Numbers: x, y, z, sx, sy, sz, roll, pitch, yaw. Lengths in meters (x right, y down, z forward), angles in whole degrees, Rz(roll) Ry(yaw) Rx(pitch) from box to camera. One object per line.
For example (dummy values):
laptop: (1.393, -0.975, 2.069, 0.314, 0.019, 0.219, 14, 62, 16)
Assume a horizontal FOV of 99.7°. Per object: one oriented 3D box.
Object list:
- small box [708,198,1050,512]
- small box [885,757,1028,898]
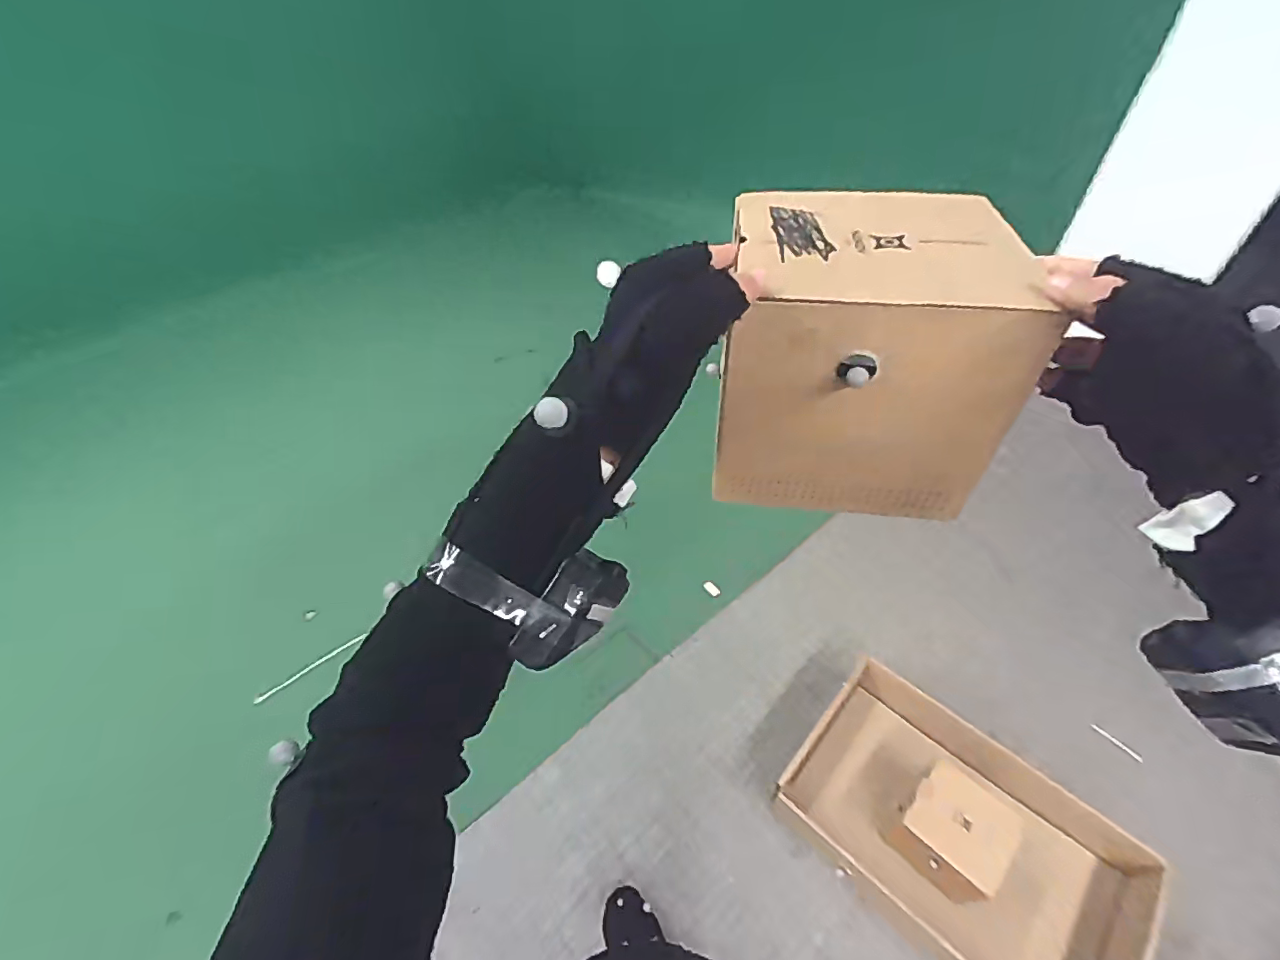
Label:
small box: (0.145, -0.092, 0.404, 0.179, 0.176, 0.168, 5, 46, 6)
small box: (0.636, 0.716, 1.108, 0.179, 0.176, 0.168, 35, 60, 29)
